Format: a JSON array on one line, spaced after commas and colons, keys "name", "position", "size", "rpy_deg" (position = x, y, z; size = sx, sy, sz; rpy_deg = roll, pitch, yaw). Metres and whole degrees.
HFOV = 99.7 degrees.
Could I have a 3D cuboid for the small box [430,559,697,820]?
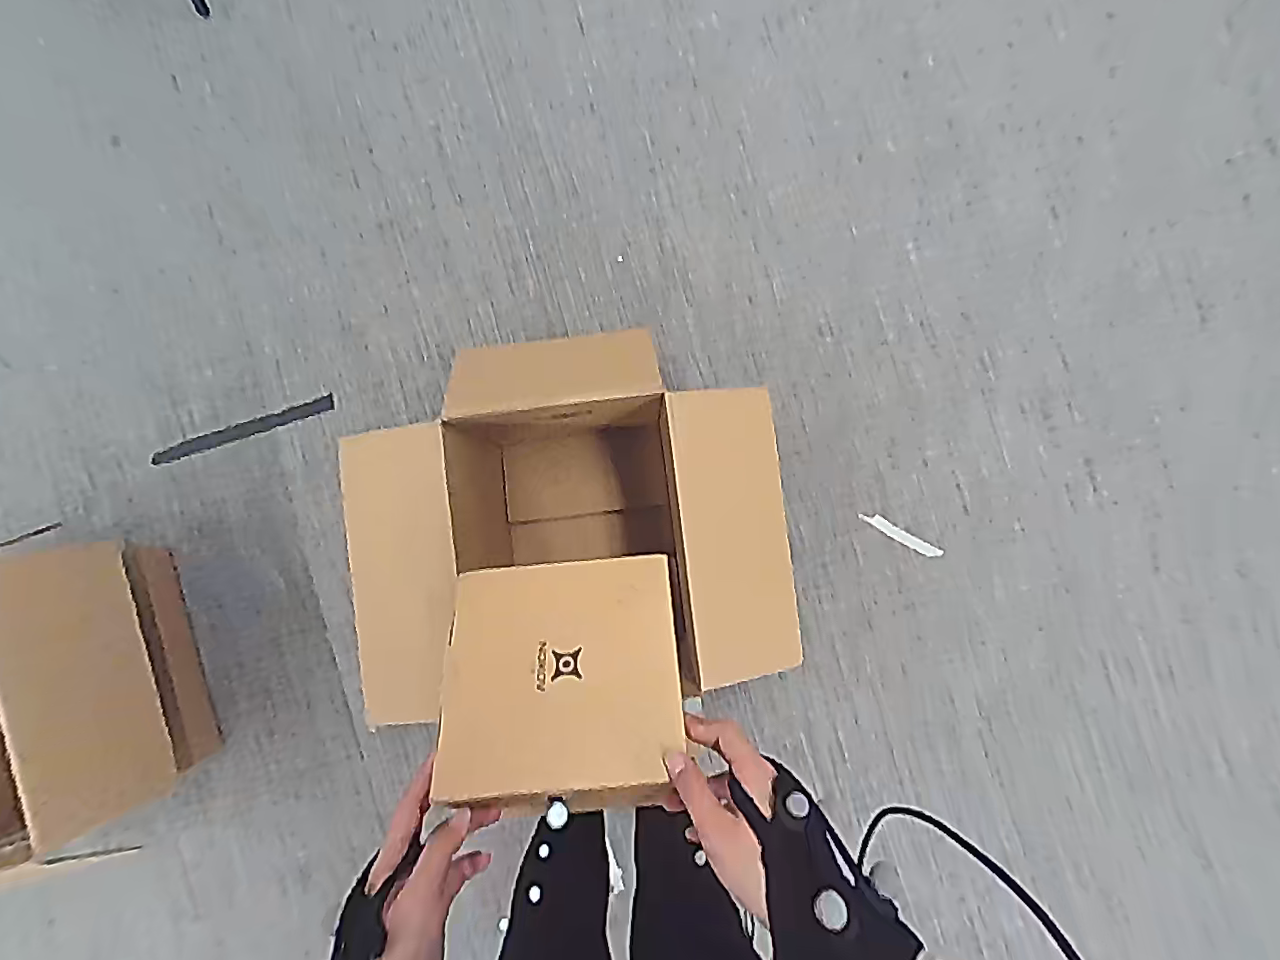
[{"name": "small box", "position": [-0.051, 0.183, 0.458], "size": [0.179, 0.176, 0.168], "rpy_deg": [-6, 55, 1]}]
